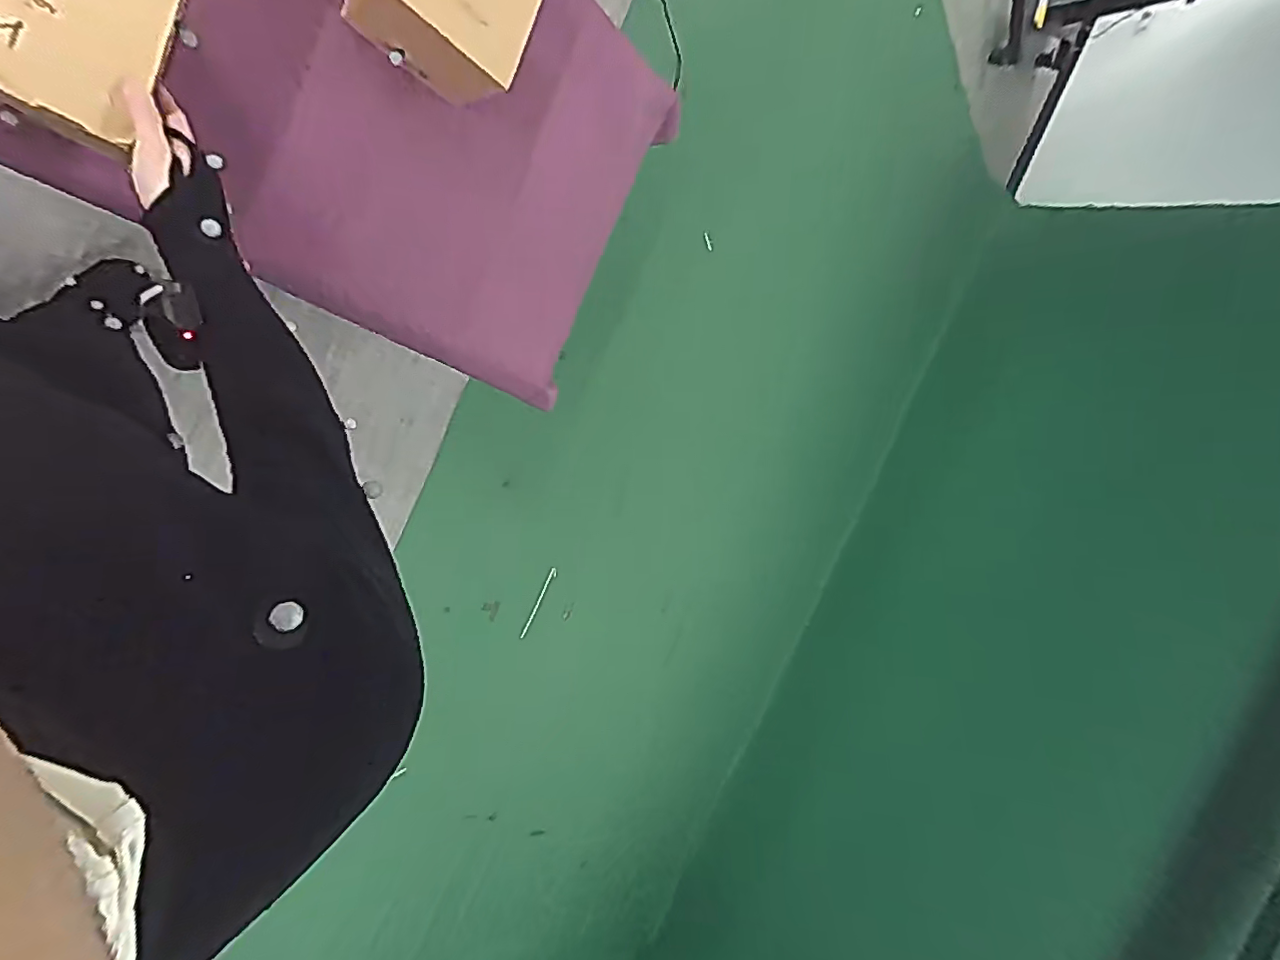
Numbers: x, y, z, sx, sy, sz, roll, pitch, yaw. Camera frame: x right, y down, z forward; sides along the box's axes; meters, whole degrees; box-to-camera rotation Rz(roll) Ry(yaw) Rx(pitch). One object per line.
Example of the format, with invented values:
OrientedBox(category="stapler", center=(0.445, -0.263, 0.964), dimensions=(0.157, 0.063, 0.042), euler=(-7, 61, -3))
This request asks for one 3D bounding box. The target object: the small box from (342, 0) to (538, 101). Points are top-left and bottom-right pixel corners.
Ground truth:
OrientedBox(category="small box", center=(-0.245, -0.619, 0.674), dimensions=(0.168, 0.176, 0.179), euler=(19, 97, -46))

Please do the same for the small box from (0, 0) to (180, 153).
OrientedBox(category="small box", center=(-0.539, -0.428, 0.480), dimensions=(0.168, 0.176, 0.179), euler=(19, 95, -46))
